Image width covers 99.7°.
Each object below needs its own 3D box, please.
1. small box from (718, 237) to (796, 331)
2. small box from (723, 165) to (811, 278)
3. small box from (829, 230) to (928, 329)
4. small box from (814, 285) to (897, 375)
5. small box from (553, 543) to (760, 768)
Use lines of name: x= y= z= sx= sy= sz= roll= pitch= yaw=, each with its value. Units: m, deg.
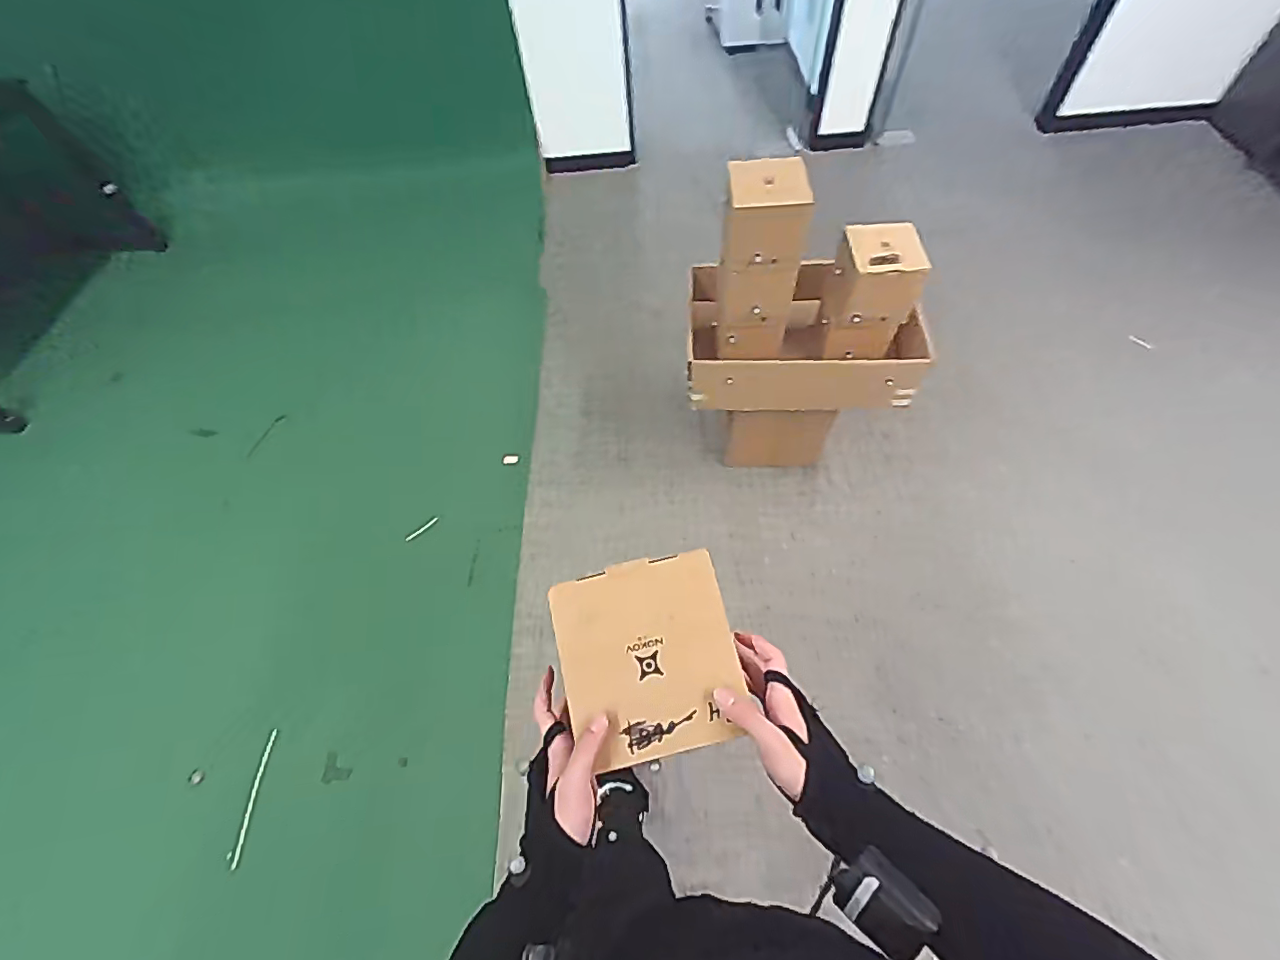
small box: x=0.290 y=-0.503 z=1.375 sx=0.168 sy=0.176 sz=0.179 roll=-1 pitch=58 yaw=4
small box: x=0.282 y=-0.587 z=1.235 sx=0.168 sy=0.176 sz=0.179 roll=-1 pitch=58 yaw=4
small box: x=0.585 y=-0.495 z=1.352 sx=0.168 sy=0.176 sz=0.179 roll=-1 pitch=58 yaw=2
small box: x=0.586 y=-0.415 z=1.496 sx=0.168 sy=0.176 sz=0.179 roll=3 pitch=59 yaw=5
small box: x=0.015 y=0.186 z=0.579 sx=0.168 sy=0.176 sz=0.179 roll=-14 pitch=70 yaw=0
